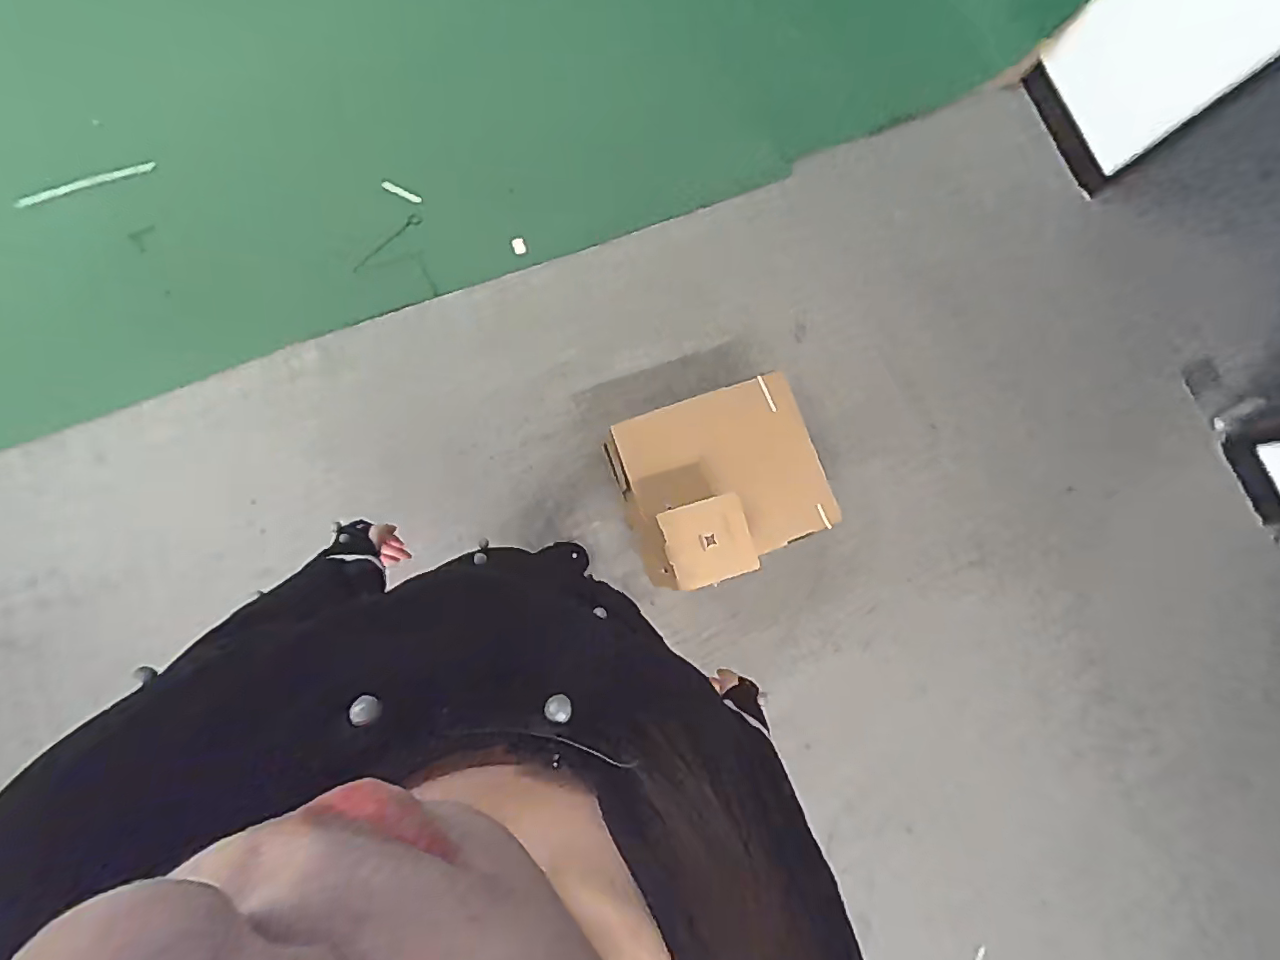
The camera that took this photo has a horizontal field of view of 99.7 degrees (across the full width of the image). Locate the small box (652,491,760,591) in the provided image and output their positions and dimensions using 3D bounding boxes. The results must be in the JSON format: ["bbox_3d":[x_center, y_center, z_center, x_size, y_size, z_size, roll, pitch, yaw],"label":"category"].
[{"bbox_3d":[0.129,0.130,1.154,0.179,0.176,0.168,-15,86,-9],"label":"small box"}]
